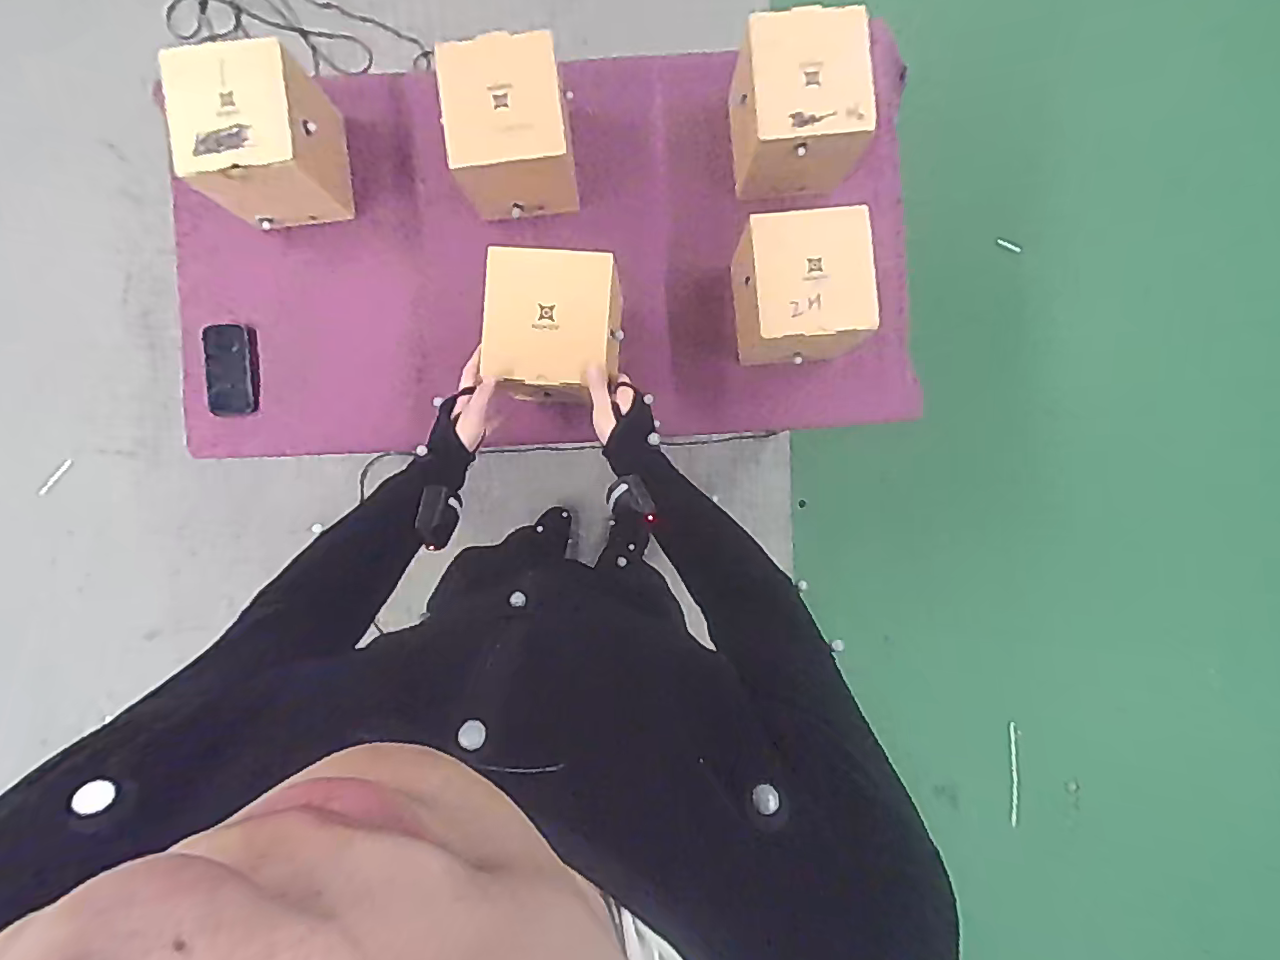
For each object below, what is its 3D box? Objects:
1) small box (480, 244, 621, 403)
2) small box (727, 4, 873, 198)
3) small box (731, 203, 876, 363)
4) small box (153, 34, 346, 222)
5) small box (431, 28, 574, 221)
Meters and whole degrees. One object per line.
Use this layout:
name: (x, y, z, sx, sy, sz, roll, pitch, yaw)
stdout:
small box: (-0.118, -0.212, 0.772, 0.168, 0.176, 0.179, 4, 92, 1)
small box: (0.231, -0.561, 0.821, 0.168, 0.176, 0.179, -5, 90, 0)
small box: (0.236, -0.287, 0.820, 0.168, 0.176, 0.179, -5, 89, 1)
small box: (-0.567, -0.508, 0.810, 0.168, 0.176, 0.179, -7, 90, -1)
small box: (-0.196, -0.524, 0.817, 0.168, 0.176, 0.179, -7, 91, 0)
